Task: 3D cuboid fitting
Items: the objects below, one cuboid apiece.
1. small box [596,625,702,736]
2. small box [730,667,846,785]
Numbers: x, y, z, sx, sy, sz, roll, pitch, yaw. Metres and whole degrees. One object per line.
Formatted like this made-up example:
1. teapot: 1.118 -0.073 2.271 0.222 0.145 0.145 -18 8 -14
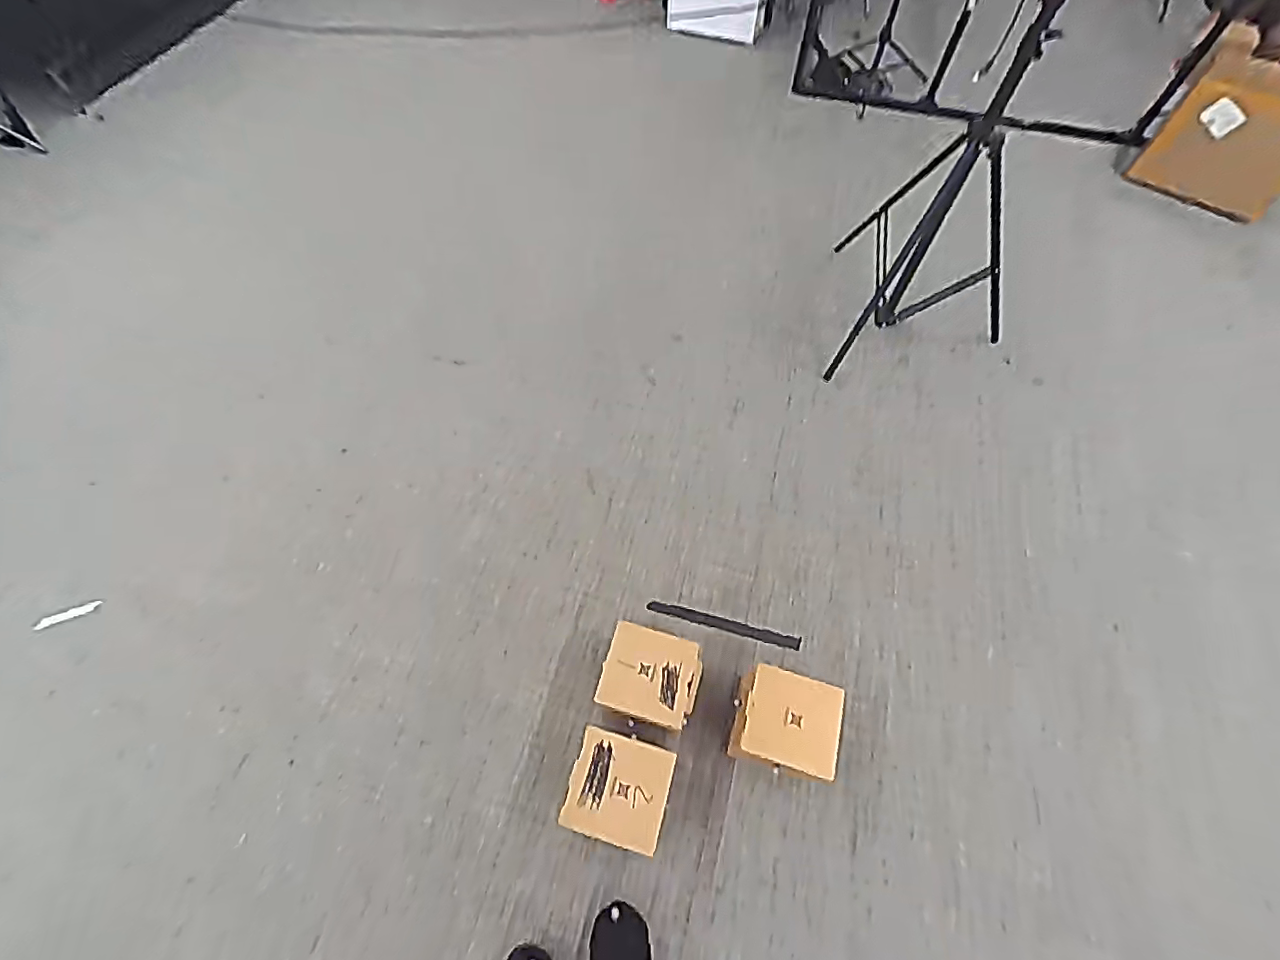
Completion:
1. small box: 0.021 0.426 1.134 0.179 0.176 0.168 14 61 9
2. small box: 0.293 0.498 1.094 0.179 0.176 0.168 15 62 9
